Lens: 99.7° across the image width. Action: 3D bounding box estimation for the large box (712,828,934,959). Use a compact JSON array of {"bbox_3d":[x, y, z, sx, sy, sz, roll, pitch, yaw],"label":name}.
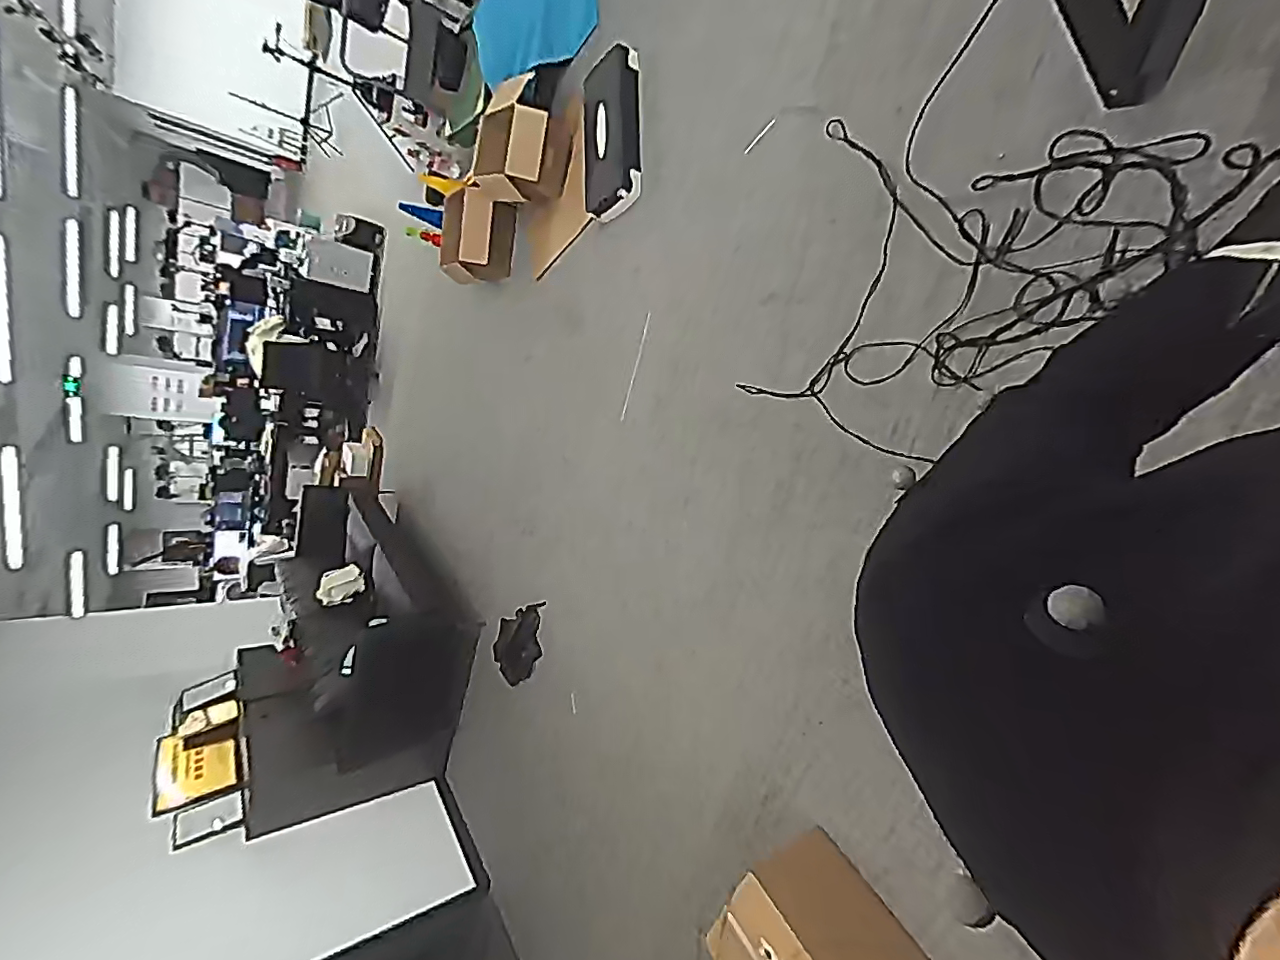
[{"bbox_3d":[0.464,1.201,1.358,0.408,0.320,0.320,44,120,45],"label":"large box"}]
